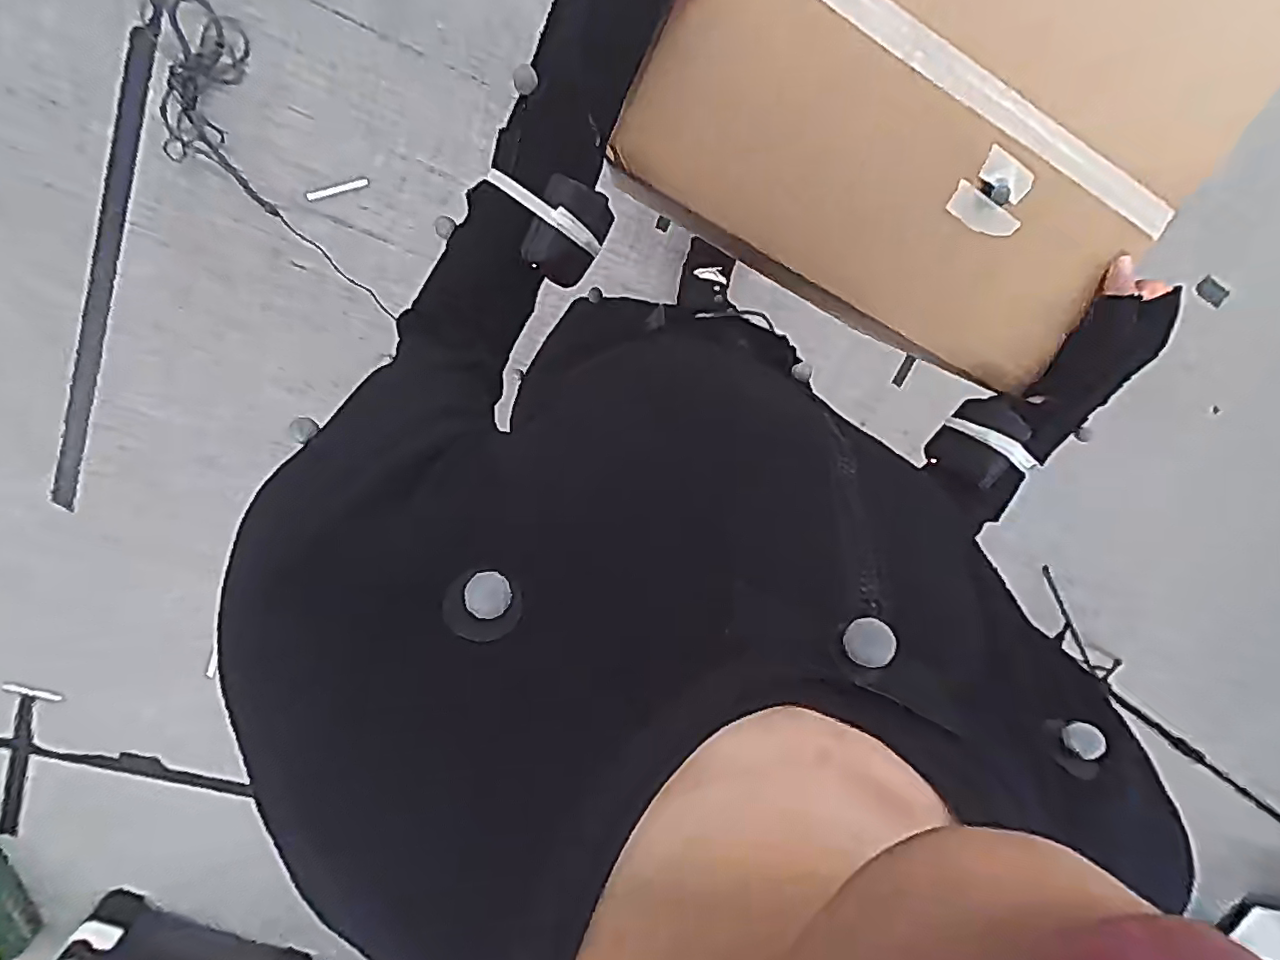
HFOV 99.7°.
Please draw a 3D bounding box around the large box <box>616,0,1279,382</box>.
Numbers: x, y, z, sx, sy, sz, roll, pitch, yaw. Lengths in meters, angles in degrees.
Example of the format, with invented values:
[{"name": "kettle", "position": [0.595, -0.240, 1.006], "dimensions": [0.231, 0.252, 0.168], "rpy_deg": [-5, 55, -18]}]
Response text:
[{"name": "large box", "position": [0.218, -0.350, 0.521], "dimensions": [0.408, 0.320, 0.320], "rpy_deg": [24, 113, -14]}]
